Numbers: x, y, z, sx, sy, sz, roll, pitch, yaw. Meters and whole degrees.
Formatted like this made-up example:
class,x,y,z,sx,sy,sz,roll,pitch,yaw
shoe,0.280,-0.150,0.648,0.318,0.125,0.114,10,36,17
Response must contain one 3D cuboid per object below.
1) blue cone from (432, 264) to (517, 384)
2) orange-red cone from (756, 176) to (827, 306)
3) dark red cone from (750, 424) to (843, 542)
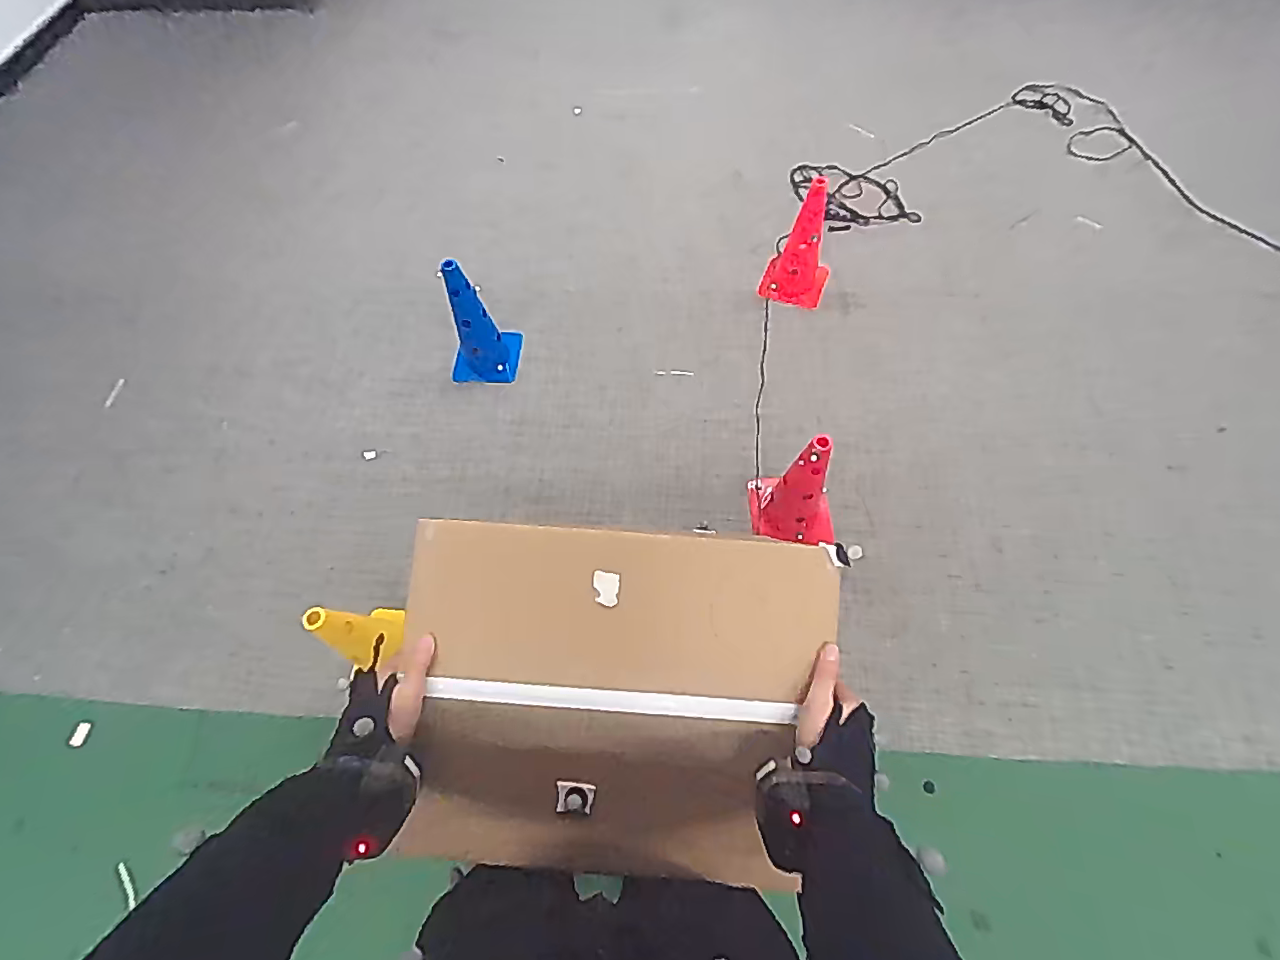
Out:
class,x,y,z,sx,sy,sz,roll,pitch,yaw
blue cone,-0.498,-0.457,1.554,0.192,0.380,0.193,2,62,5
orange-red cone,0.490,-0.735,1.621,0.199,0.360,0.198,20,66,12
dark red cone,0.378,-0.012,1.218,0.202,0.394,0.201,-5,65,1
